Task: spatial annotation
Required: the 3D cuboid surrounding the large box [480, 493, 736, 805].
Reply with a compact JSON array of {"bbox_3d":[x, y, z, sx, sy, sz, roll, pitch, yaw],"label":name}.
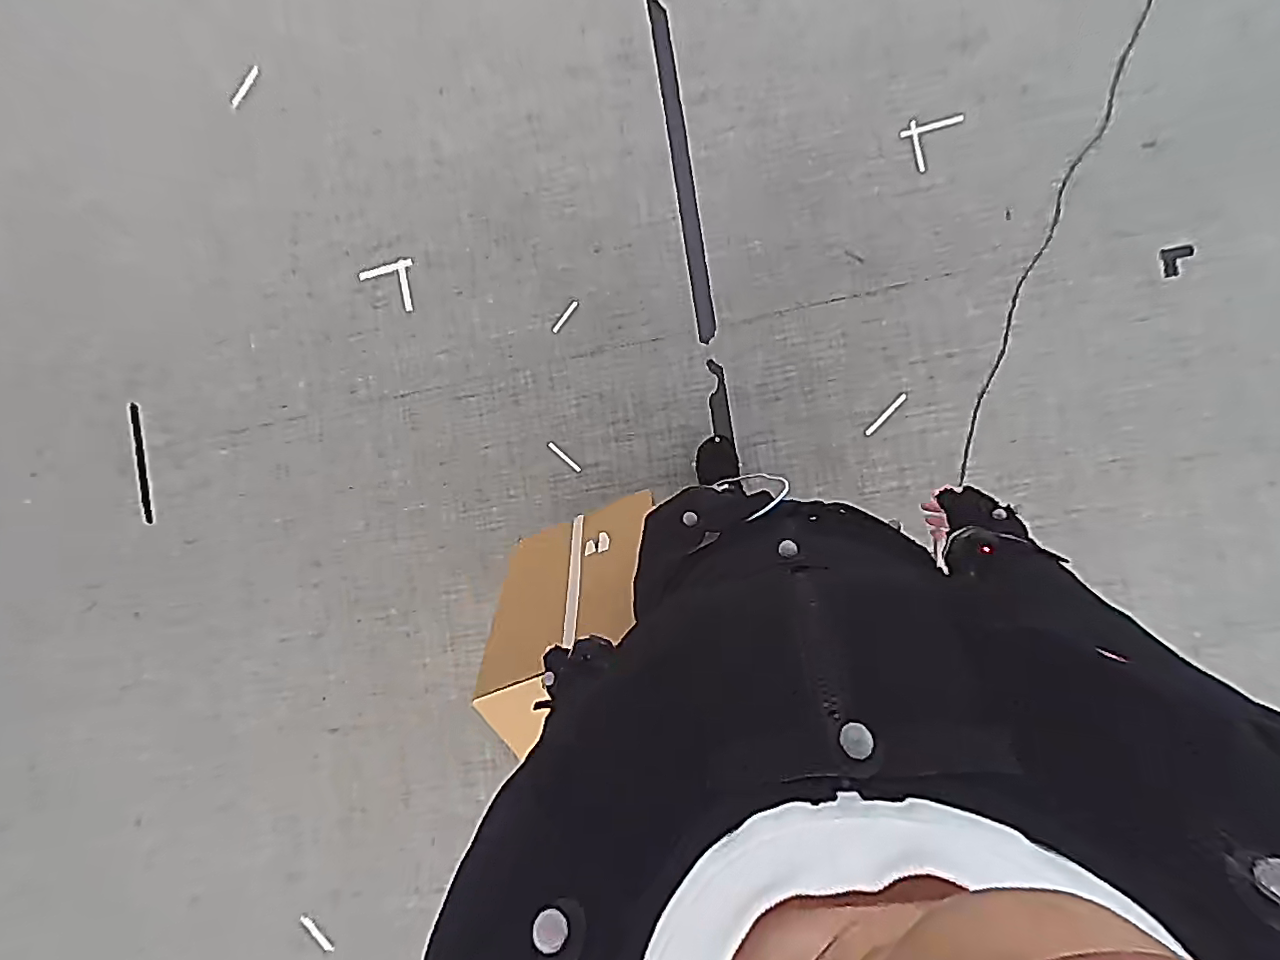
[{"bbox_3d":[-0.050,0.290,1.005,0.320,0.408,0.320,-21,116,7],"label":"large box"}]
